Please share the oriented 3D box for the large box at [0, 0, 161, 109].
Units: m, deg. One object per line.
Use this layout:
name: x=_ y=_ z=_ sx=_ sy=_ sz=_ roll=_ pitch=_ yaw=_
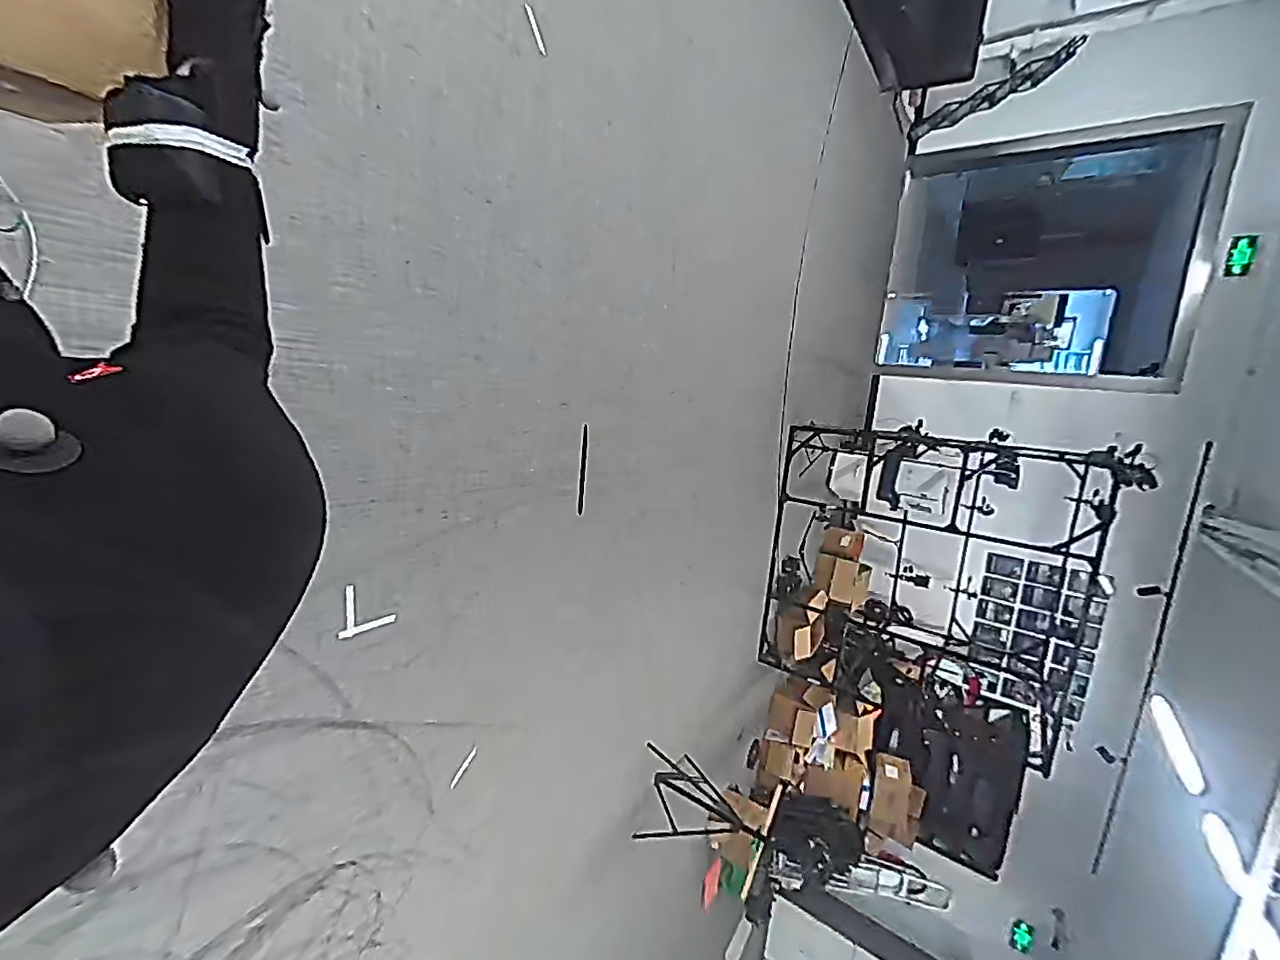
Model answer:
large box: x=-0.539 y=-0.436 z=0.255 sx=0.408 sy=0.320 sz=0.320 roll=-10 pitch=118 yaw=-57
